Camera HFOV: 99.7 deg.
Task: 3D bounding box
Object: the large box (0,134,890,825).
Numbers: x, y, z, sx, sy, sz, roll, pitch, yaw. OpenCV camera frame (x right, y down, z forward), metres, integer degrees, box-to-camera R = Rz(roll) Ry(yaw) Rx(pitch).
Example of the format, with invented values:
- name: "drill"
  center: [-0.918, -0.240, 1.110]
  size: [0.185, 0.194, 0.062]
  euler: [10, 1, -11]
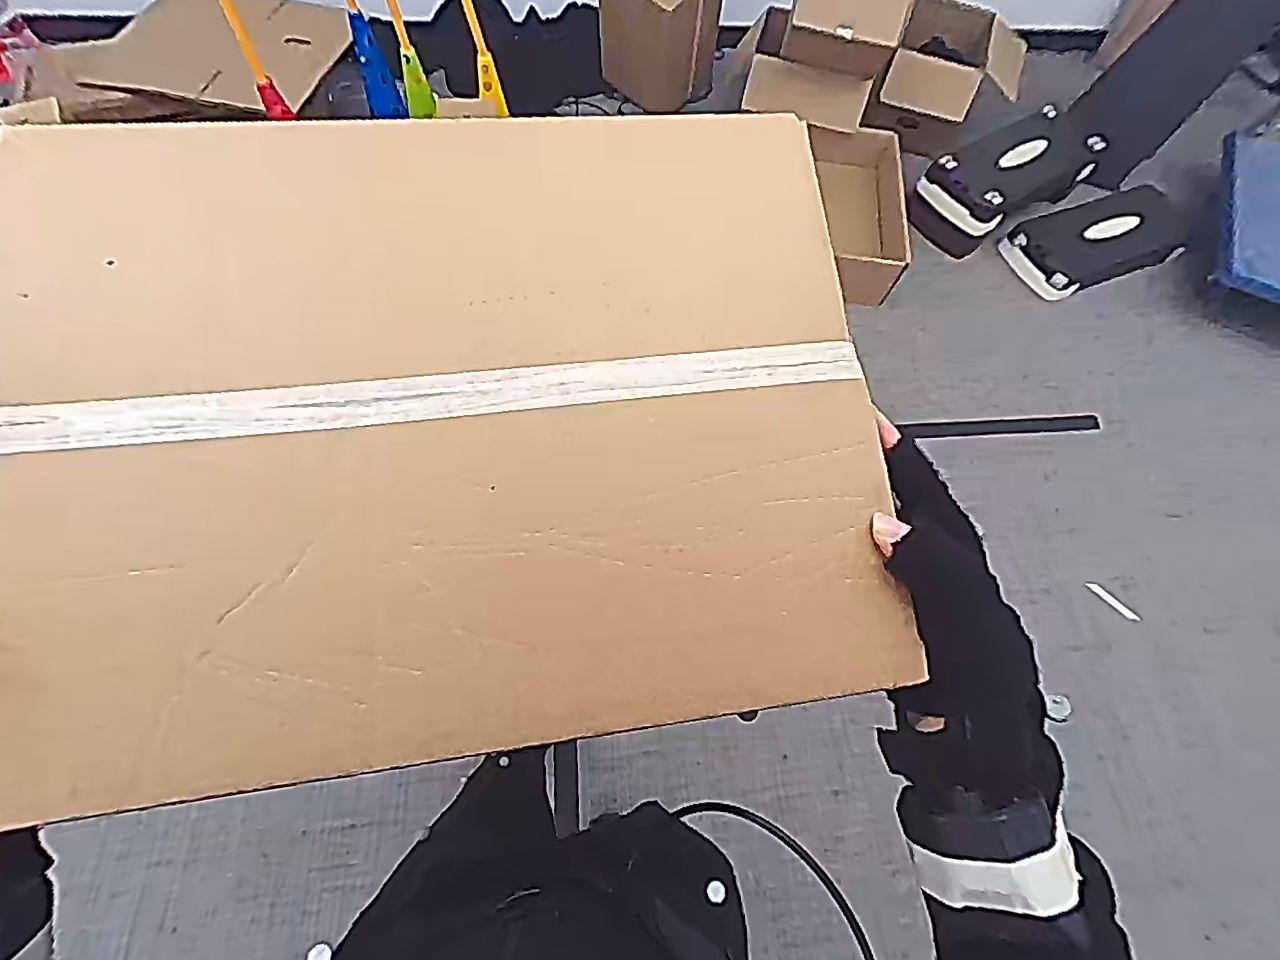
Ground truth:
- name: "large box"
  center: [-0.105, -0.002, 0.410]
  size: [0.408, 0.320, 0.320]
  euler: [-6, 77, -7]
